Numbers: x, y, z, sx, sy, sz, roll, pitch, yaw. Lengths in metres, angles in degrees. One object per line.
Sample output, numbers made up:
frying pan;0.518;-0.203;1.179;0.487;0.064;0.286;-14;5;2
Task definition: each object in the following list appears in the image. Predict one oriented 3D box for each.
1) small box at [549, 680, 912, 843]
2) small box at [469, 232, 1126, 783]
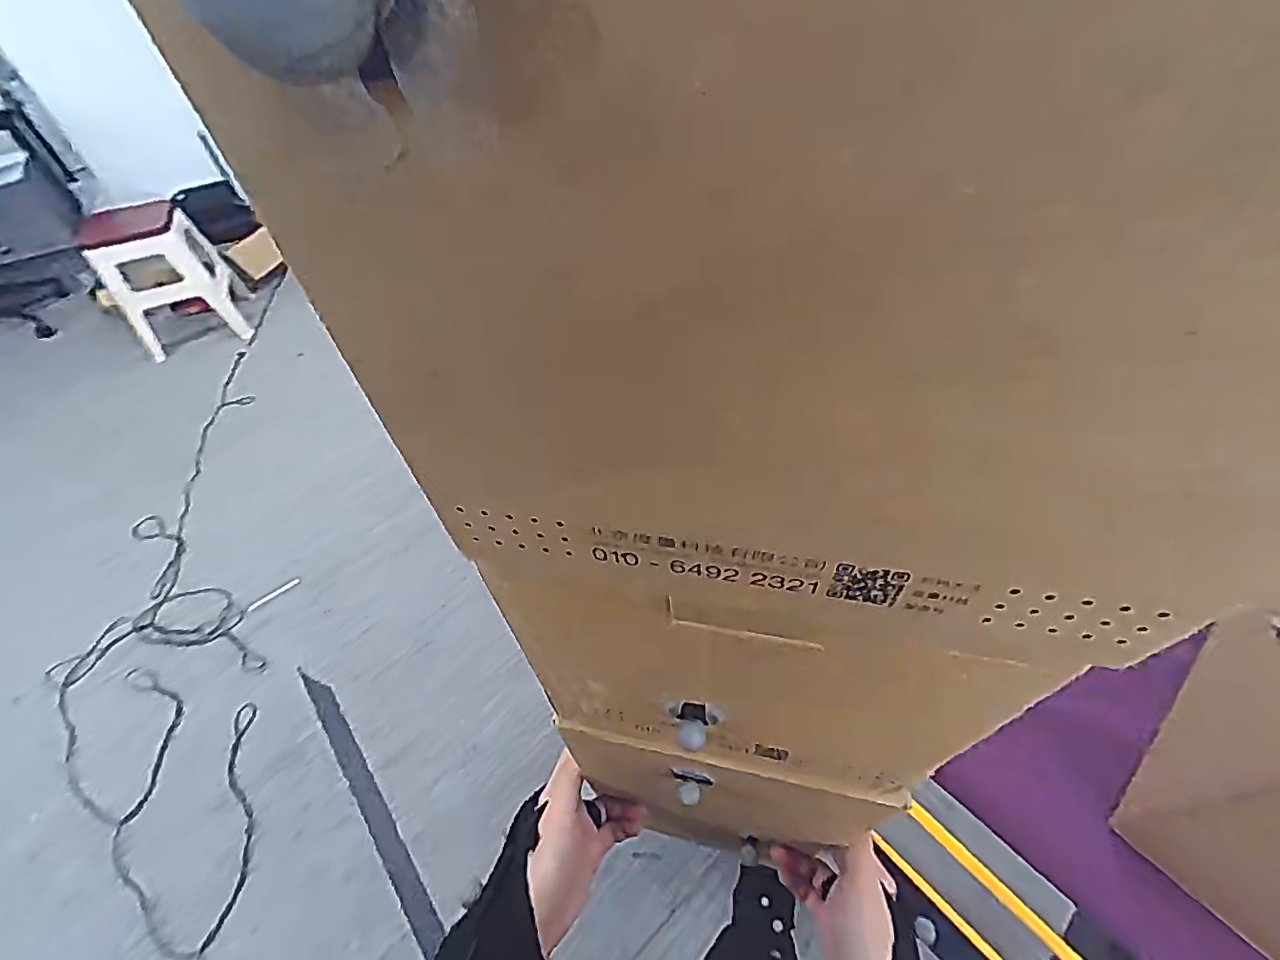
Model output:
small box;0.060;0.124;0.365;0.179;0.176;0.168;8;51;10
small box;0.051;0.012;0.248;0.168;0.176;0.179;7;52;10
